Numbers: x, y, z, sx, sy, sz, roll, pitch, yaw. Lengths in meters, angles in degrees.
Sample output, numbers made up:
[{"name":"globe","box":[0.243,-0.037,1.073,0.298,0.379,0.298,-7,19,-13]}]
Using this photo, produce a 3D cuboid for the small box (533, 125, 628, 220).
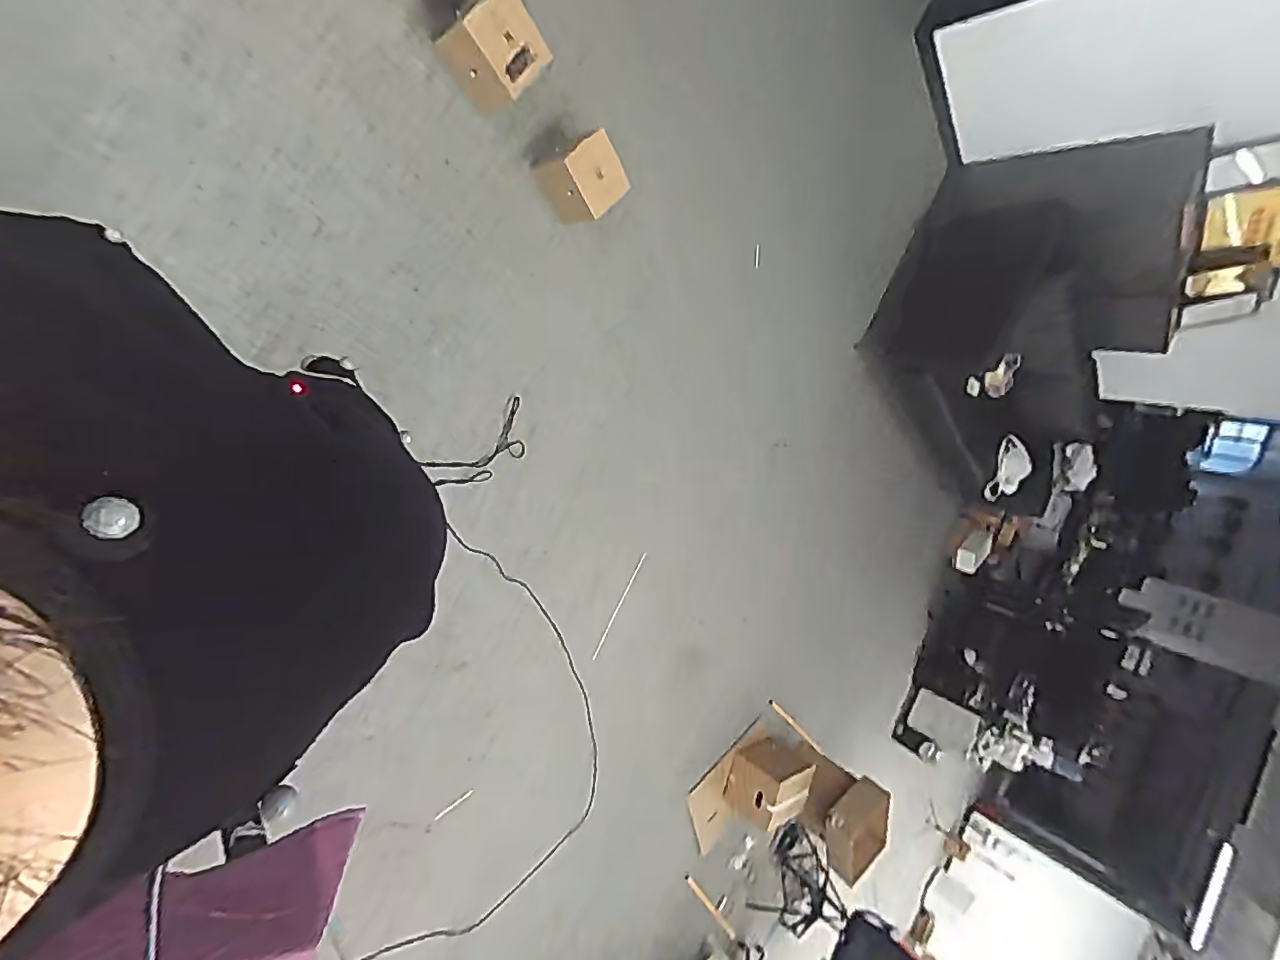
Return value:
[{"name":"small box","box":[-0.172,-0.869,1.545,0.168,0.176,0.179,-50,133,-17]}]
